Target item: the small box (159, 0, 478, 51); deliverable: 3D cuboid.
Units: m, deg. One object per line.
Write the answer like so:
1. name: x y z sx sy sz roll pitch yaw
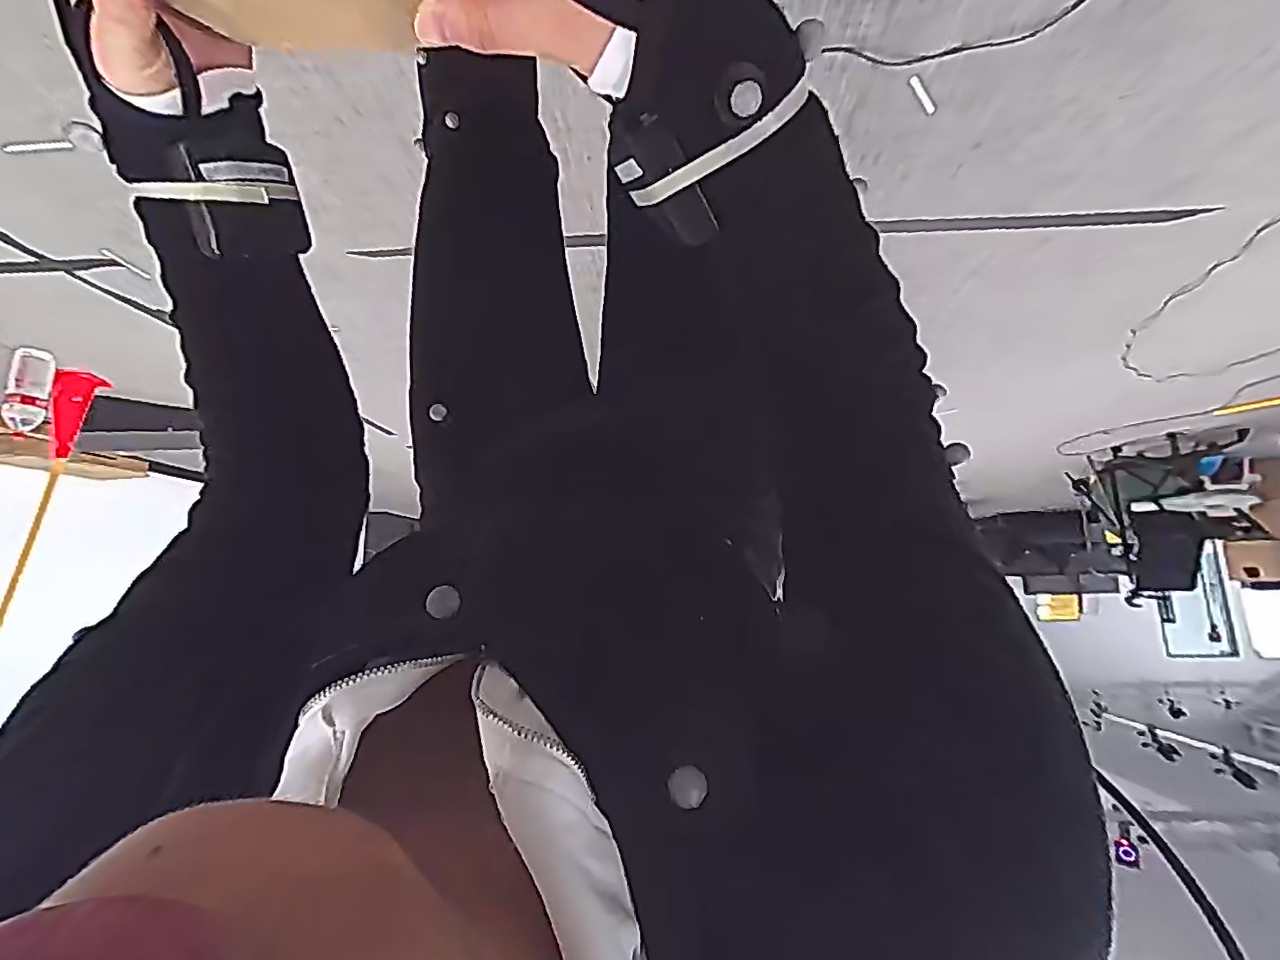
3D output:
1. small box: -0.154 -0.271 0.159 0.179 0.176 0.168 18 -163 19
